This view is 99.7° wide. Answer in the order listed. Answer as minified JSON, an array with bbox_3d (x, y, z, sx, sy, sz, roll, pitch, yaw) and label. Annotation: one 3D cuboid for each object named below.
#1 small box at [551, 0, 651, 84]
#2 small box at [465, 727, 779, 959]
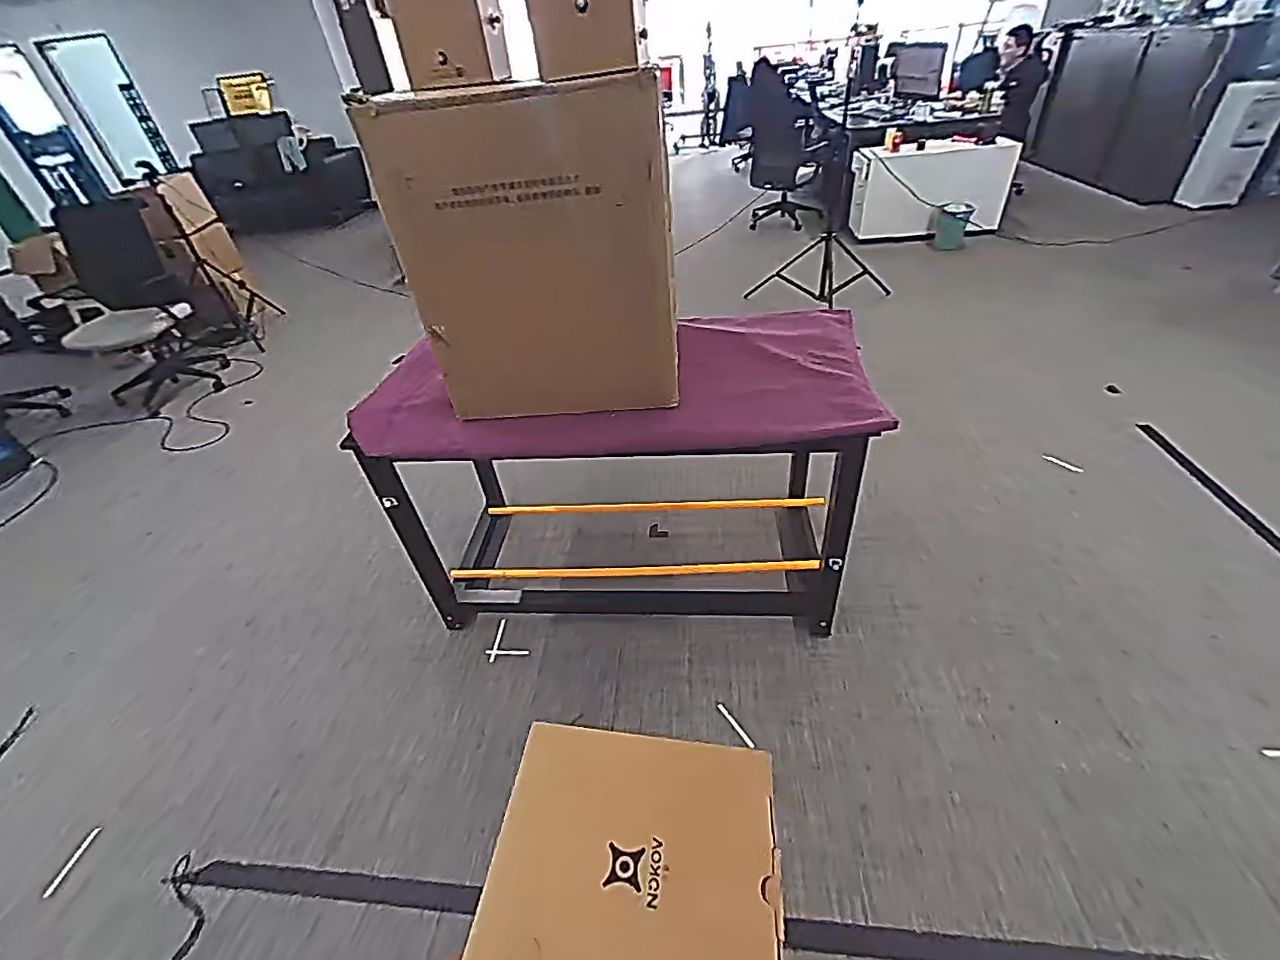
[{"bbox_3d":[-0.071,-0.879,1.045,0.168,0.176,0.179,-2,39,8],"label":"small box"},{"bbox_3d":[-0.002,0.304,0.383,0.179,0.176,0.168,4,38,7],"label":"small box"}]
